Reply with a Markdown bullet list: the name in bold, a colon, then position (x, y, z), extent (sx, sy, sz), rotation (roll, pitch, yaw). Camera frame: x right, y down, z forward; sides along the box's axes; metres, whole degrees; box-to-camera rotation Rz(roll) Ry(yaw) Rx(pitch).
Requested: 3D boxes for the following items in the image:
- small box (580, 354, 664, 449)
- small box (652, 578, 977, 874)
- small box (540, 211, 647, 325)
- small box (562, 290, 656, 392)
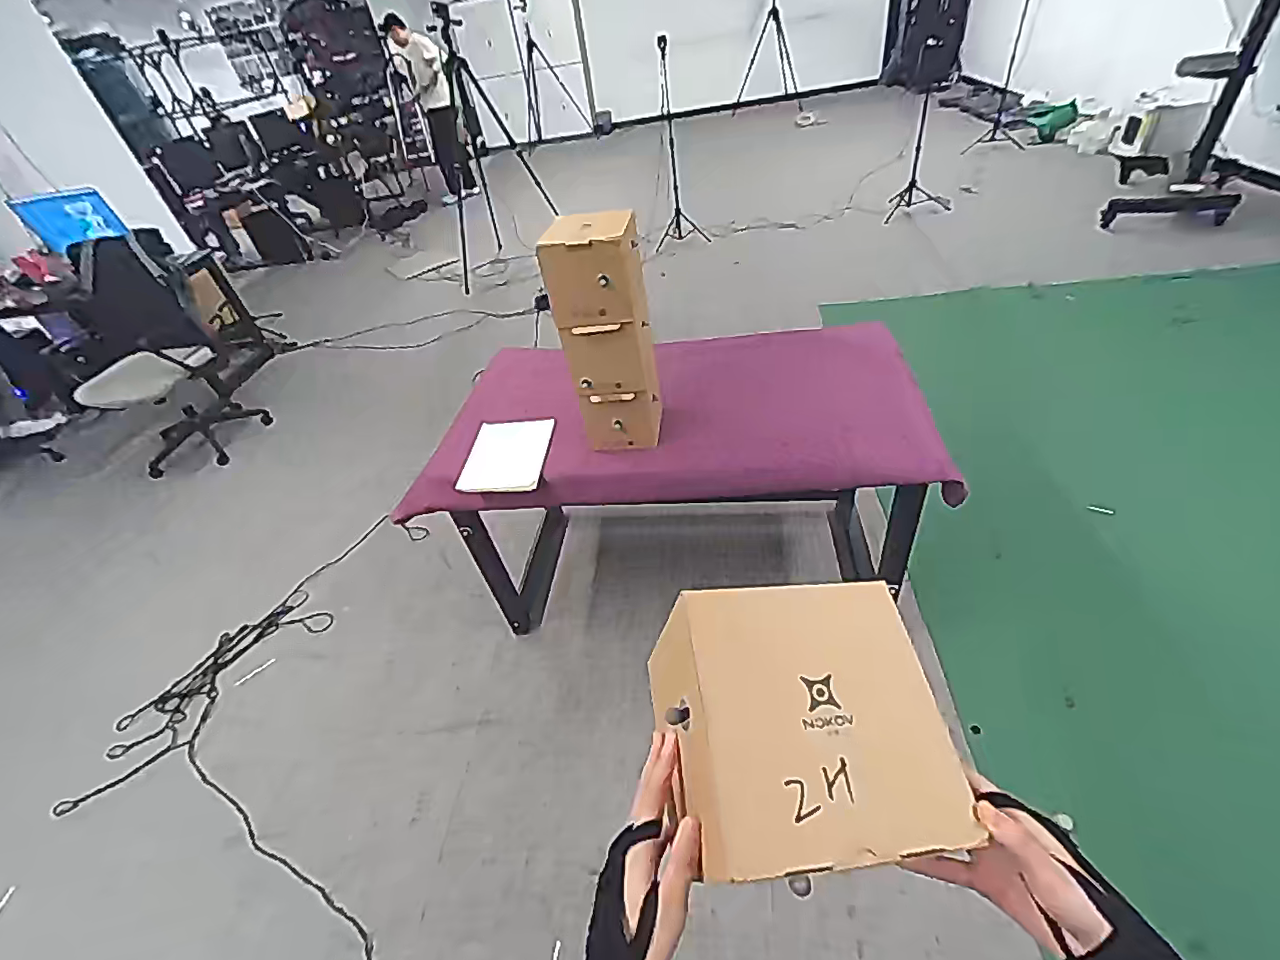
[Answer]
- **small box**: position (-0.036, -0.188, 1.321), extent (0.168, 0.176, 0.179), rotation (-1, 43, 10)
- **small box**: position (0.108, 0.195, 0.429), extent (0.168, 0.176, 0.179), rotation (-1, 54, -9)
- **small box**: position (-0.084, -0.425, 1.099), extent (0.168, 0.176, 0.179), rotation (0, 41, 11)
- **small box**: position (-0.060, -0.307, 1.209), extent (0.168, 0.176, 0.179), rotation (-1, 41, 11)
